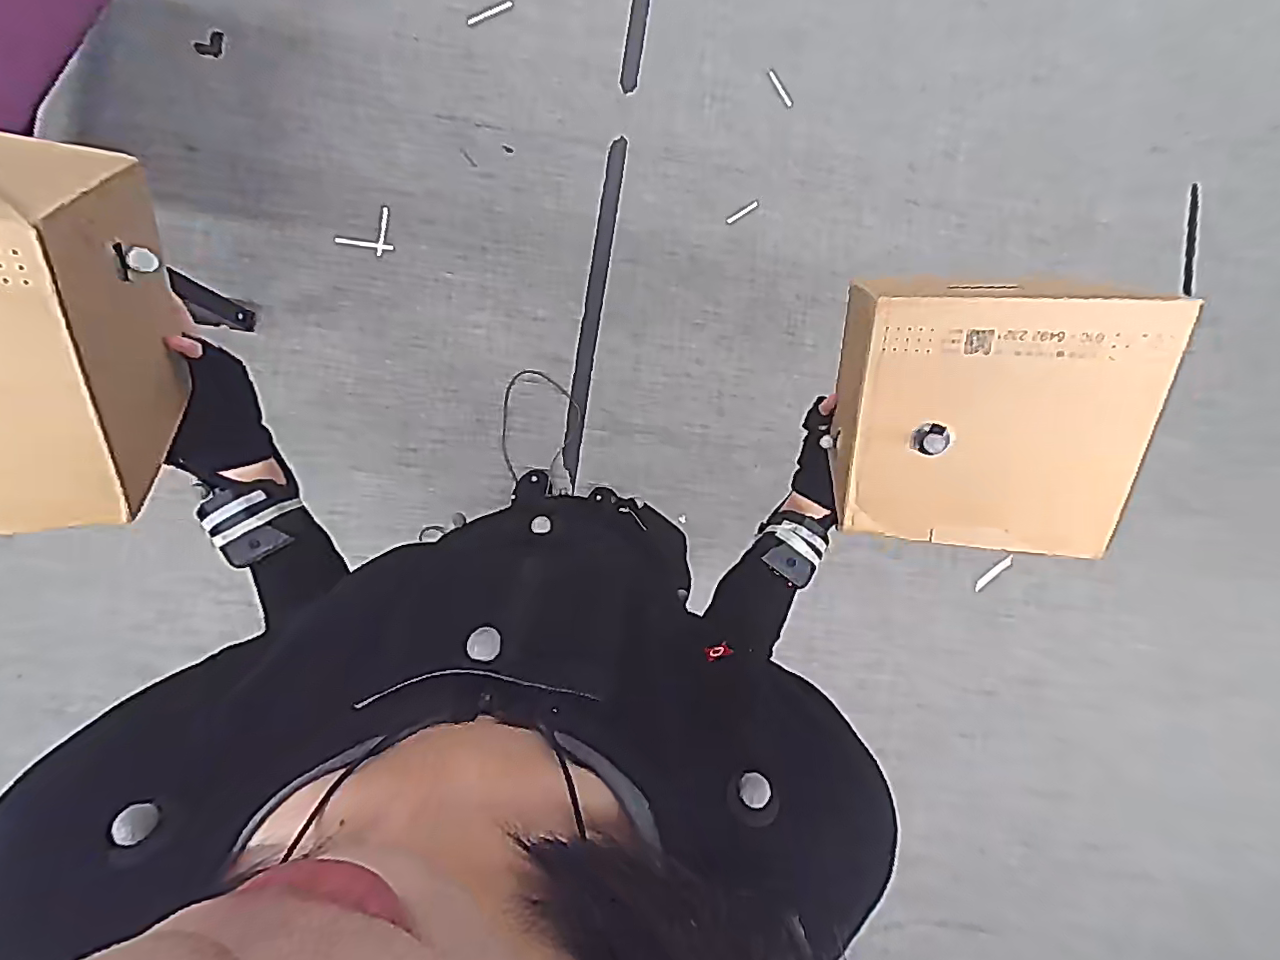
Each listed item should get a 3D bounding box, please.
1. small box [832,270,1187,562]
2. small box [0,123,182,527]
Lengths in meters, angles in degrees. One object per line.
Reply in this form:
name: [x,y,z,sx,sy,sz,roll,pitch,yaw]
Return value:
small box: [0.245,-0.063,0.405,0.168,0.179,0.176,7,115,14]
small box: [-0.374,-0.088,0.280,0.168,0.179,0.176,-3,125,-28]
